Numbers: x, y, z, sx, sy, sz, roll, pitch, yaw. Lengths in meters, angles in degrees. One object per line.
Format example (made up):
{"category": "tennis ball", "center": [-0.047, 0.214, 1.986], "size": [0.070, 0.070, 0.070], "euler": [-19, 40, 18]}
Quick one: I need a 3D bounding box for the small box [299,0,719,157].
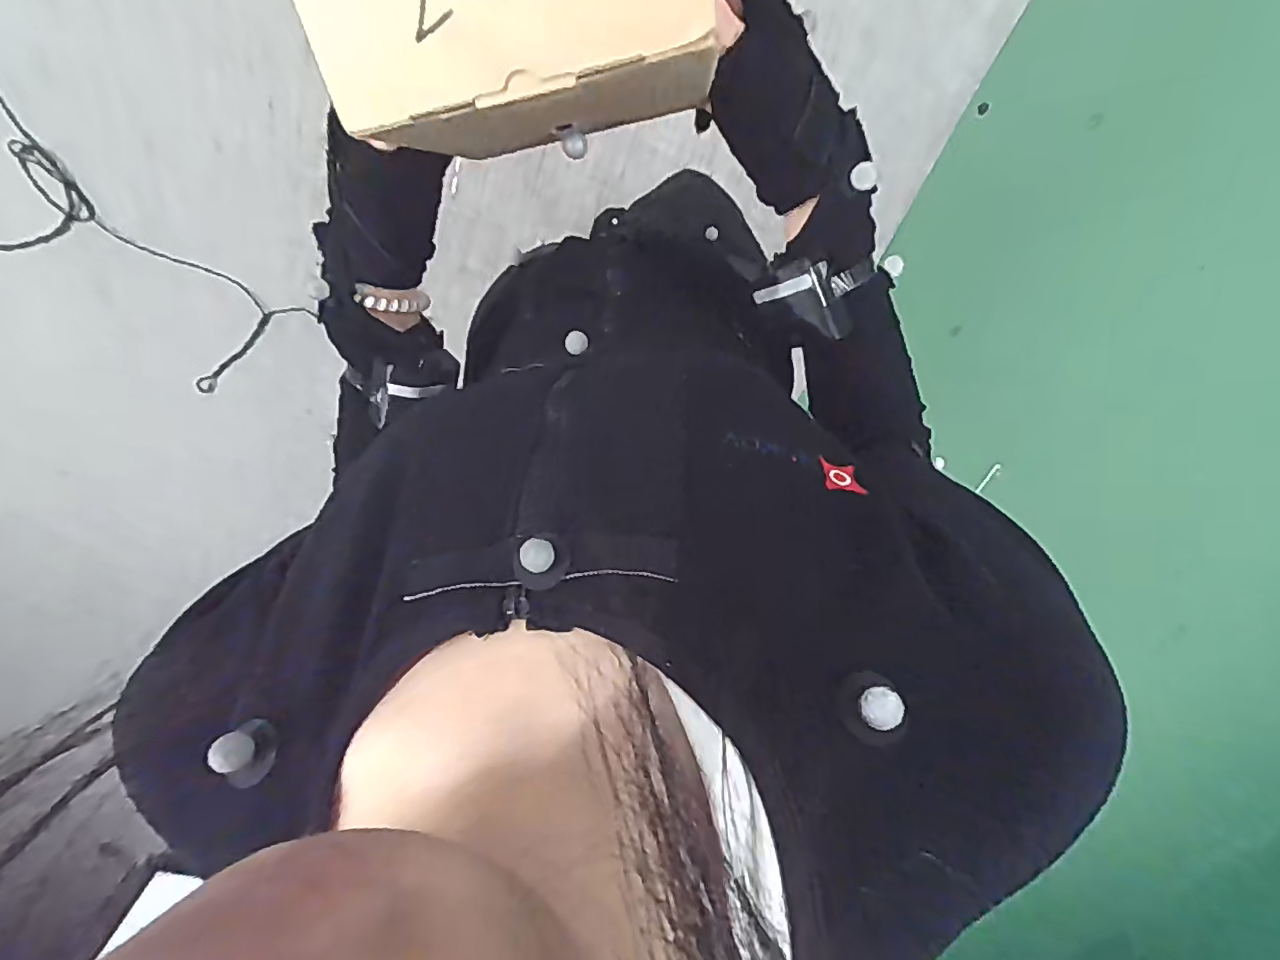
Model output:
{"category": "small box", "center": [-0.058, -0.274, 0.259], "size": [0.168, 0.176, 0.179], "euler": [-8, 117, 9]}
